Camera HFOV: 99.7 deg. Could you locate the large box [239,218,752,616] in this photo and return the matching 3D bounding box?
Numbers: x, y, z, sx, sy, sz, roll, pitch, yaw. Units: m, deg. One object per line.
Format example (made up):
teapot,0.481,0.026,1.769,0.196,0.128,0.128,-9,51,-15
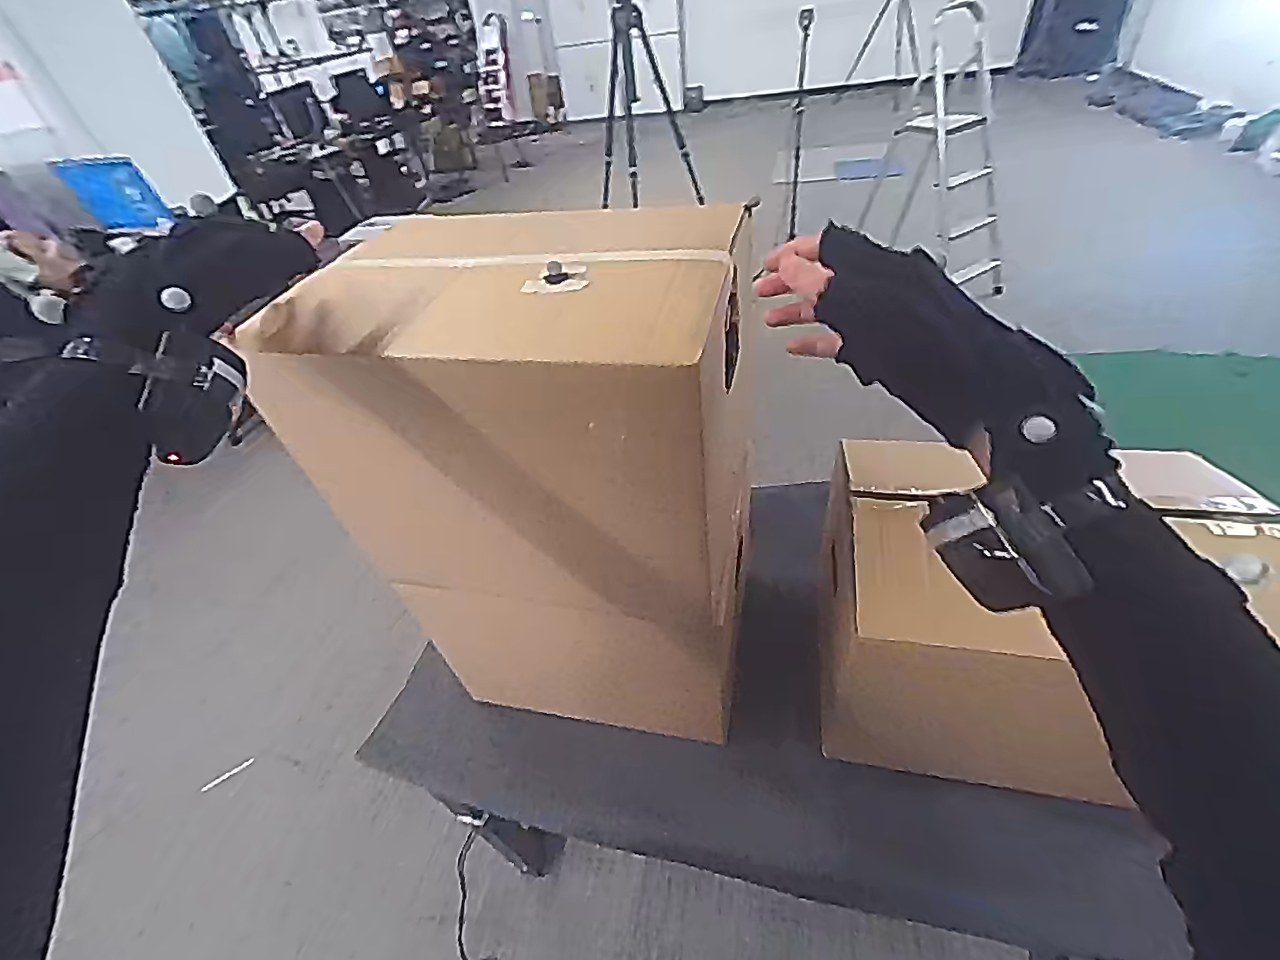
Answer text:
large box,-0.097,-0.081,0.609,0.408,0.320,0.320,6,45,13
